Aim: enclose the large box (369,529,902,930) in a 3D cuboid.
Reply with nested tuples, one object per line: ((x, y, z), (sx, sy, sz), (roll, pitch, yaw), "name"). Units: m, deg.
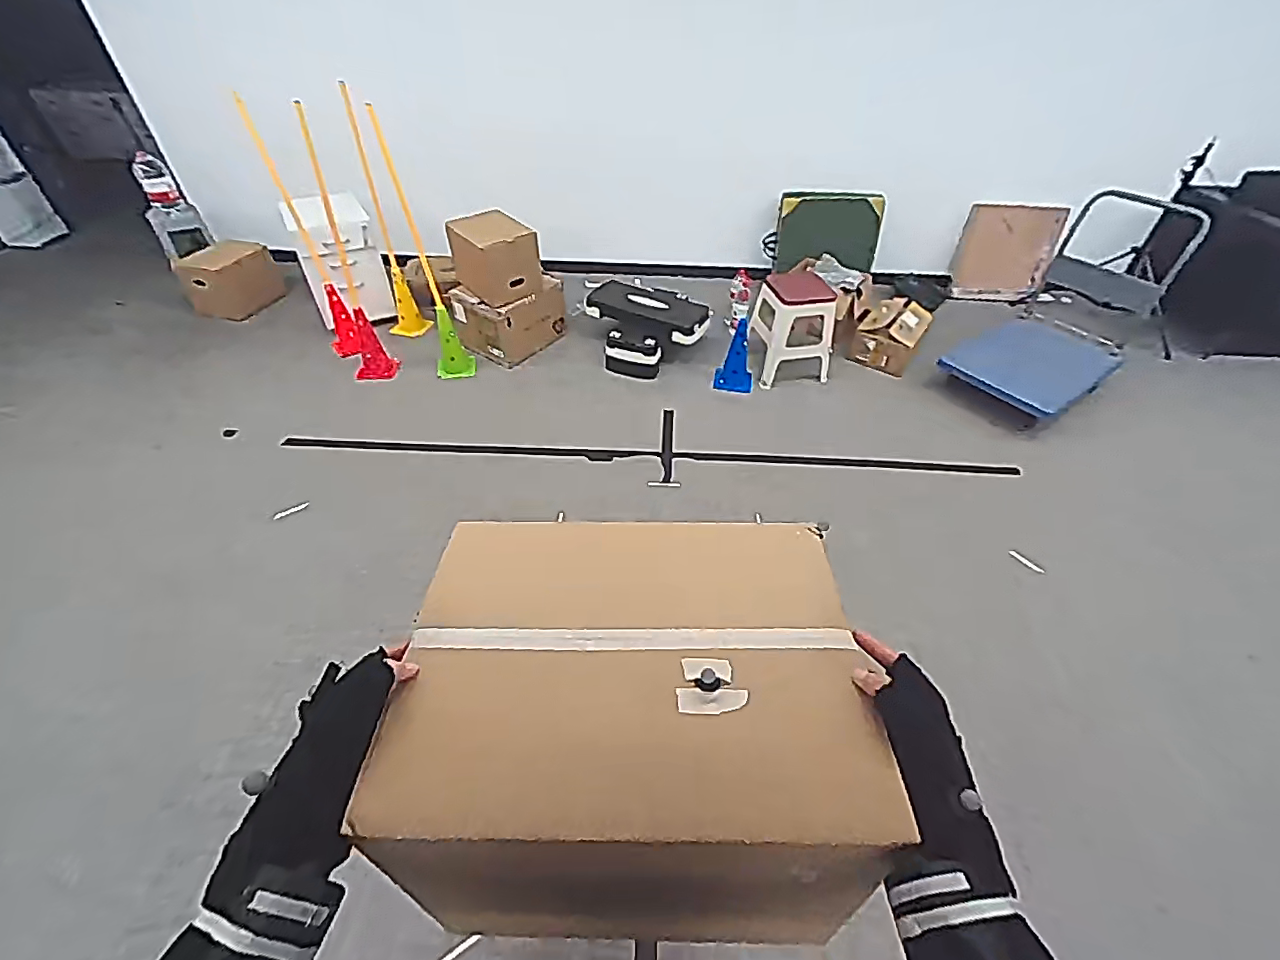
((-0.004, 0.269, 0.603), (0.408, 0.320, 0.320), (0, 40, 1), "large box")
